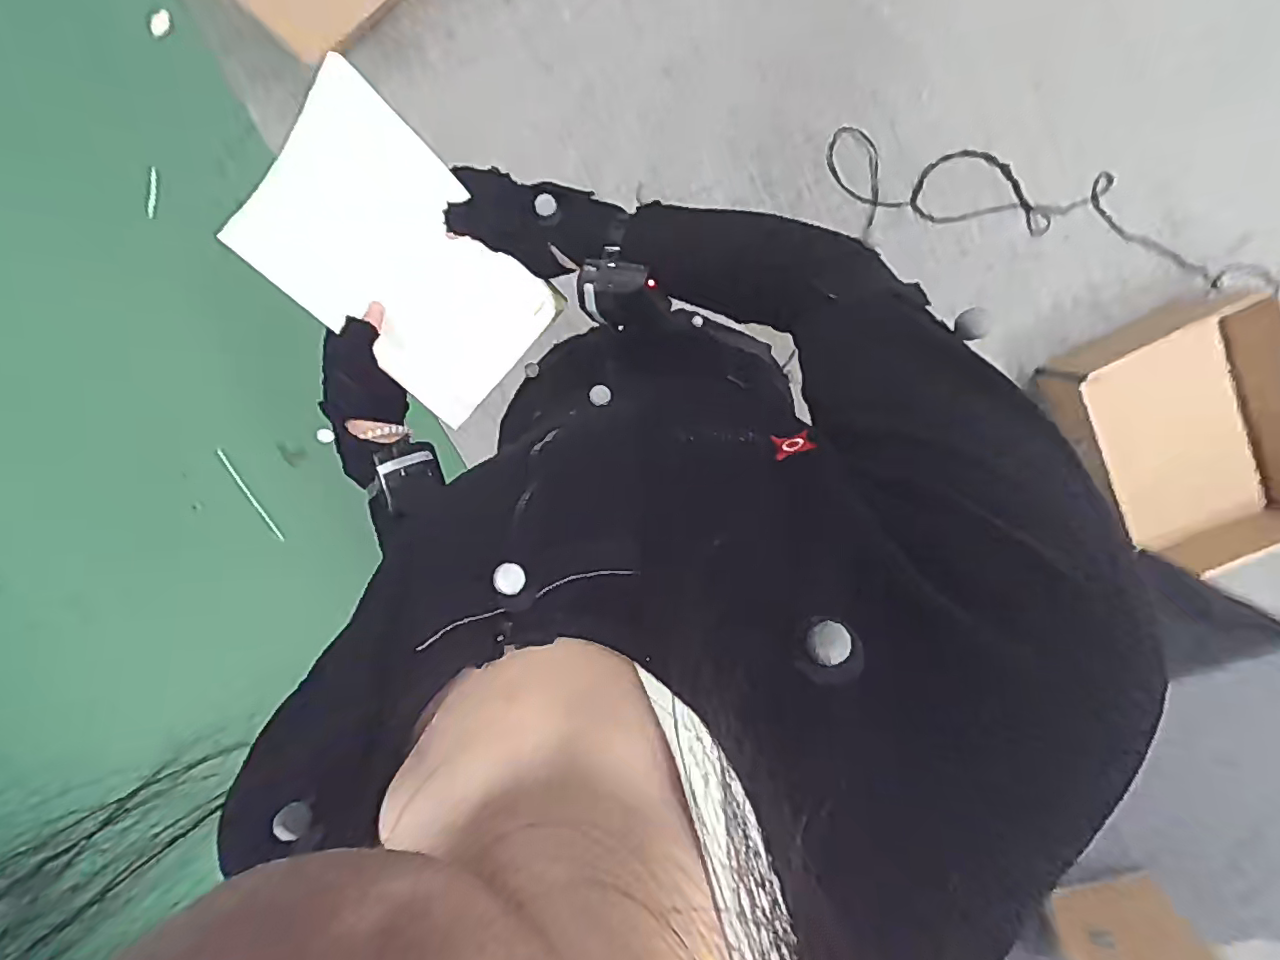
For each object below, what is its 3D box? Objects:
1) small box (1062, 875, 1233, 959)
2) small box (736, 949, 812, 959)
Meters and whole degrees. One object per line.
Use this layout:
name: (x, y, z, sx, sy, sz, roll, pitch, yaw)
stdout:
small box: (0.821, 0.782, 0.865, 0.179, 0.176, 0.168, -23, 105, 12)
small box: (0.269, 1.009, 0.980, 0.168, 0.176, 0.179, -22, 104, 10)
